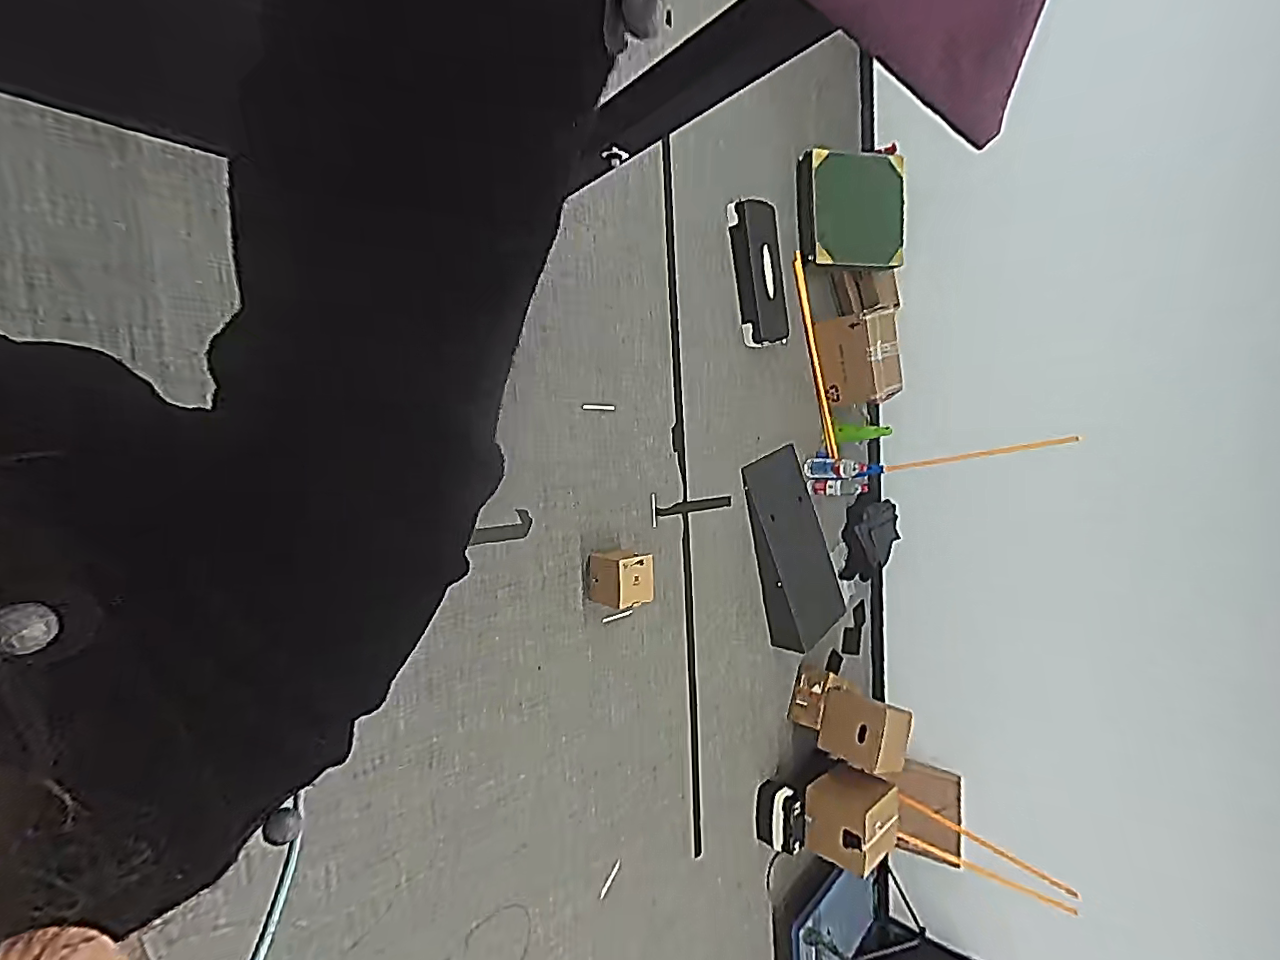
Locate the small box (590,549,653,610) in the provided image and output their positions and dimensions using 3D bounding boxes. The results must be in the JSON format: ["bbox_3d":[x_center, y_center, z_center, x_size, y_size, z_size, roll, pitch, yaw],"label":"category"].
[{"bbox_3d":[-0.070,0.357,1.973,0.168,0.176,0.179,-3,94,-45],"label":"small box"}]
